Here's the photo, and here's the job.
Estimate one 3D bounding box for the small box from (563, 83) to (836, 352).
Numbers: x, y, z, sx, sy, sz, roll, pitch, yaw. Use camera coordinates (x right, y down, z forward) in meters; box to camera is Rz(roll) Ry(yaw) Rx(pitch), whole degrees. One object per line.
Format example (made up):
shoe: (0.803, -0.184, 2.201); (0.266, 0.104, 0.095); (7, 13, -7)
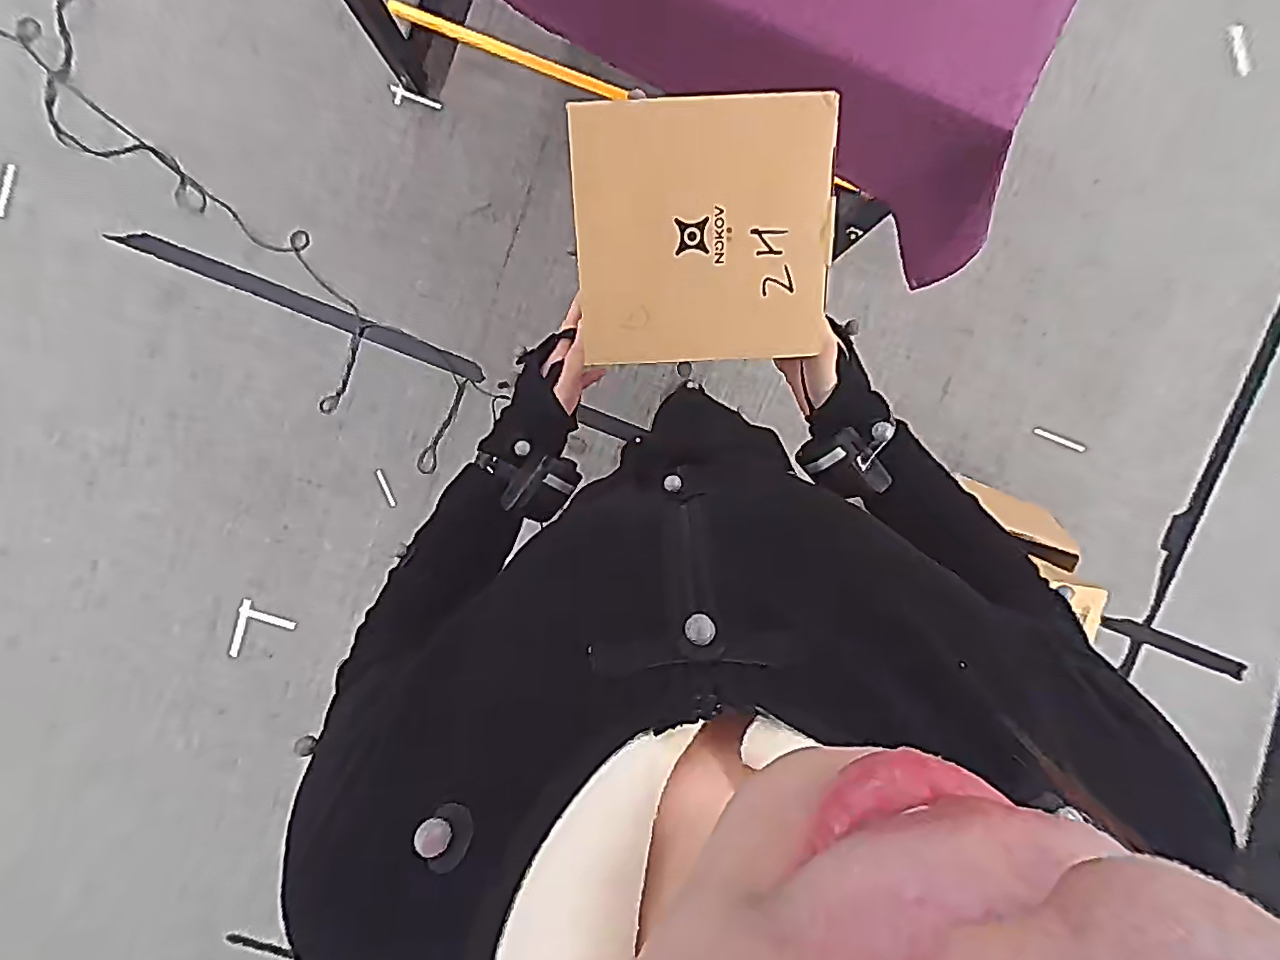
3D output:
small box: (0.039, -0.194, 0.440); (0.179, 0.176, 0.168); (-2, 108, -1)
